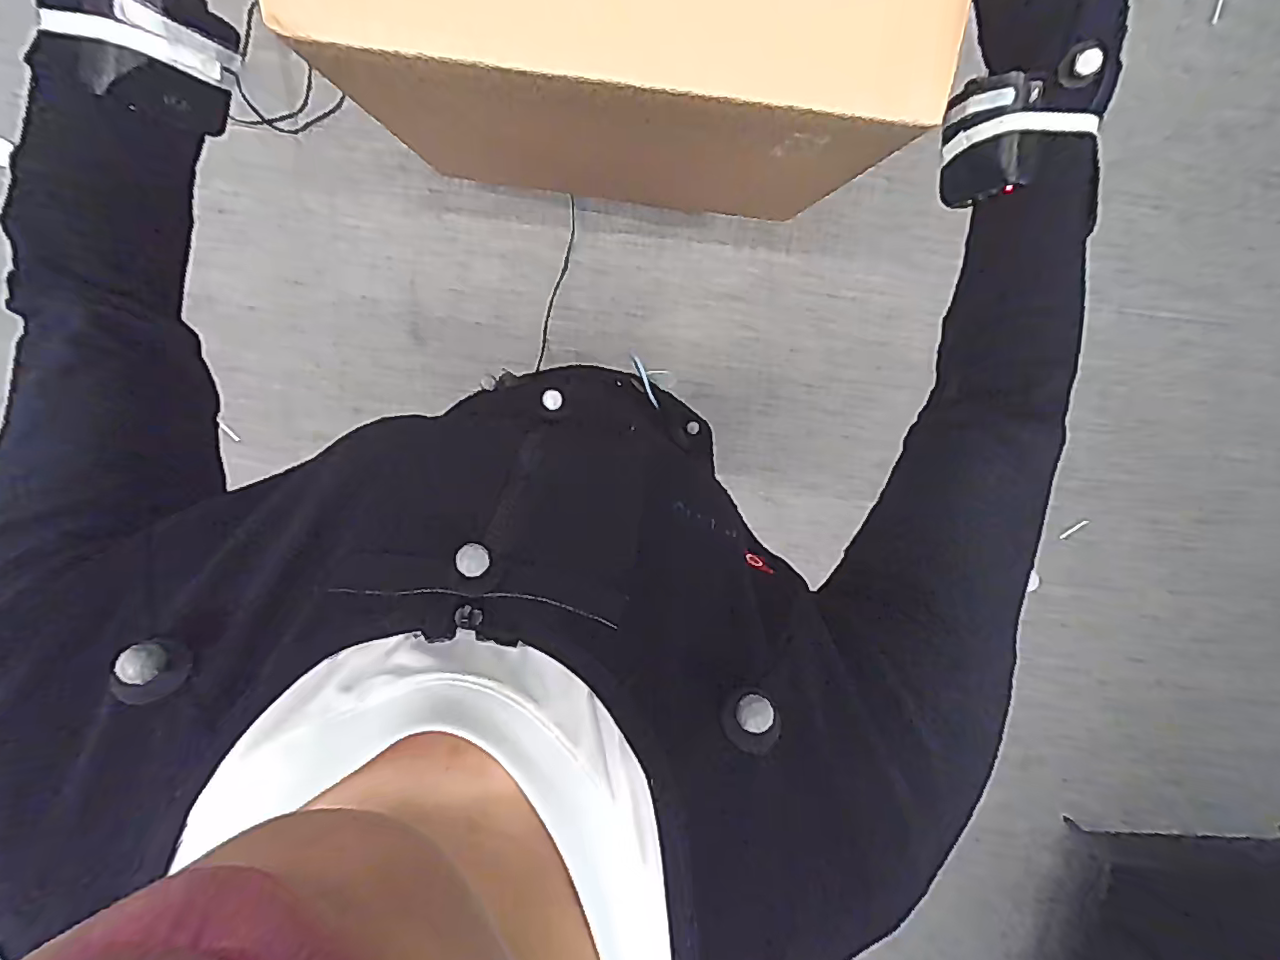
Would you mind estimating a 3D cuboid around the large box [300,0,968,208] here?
[{"bbox_3d":[0.002,-0.435,0.432,0.408,0.320,0.320,5,106,-5],"label":"large box"}]
